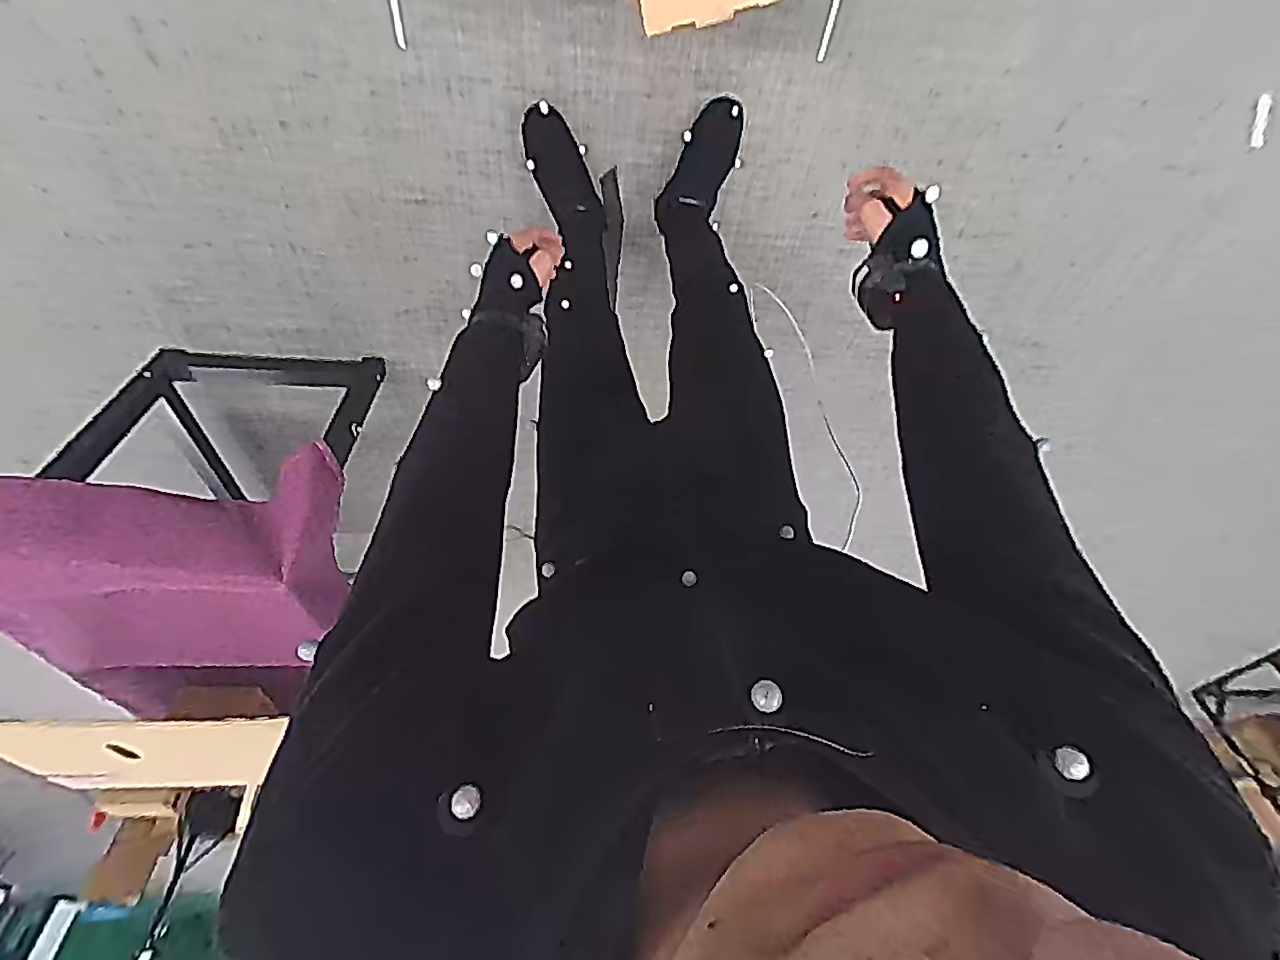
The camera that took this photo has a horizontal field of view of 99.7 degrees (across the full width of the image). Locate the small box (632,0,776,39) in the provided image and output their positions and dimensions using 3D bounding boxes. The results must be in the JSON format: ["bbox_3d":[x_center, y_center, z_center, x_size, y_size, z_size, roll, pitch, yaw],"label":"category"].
[{"bbox_3d":[0.060,-0.653,0.623,0.168,0.176,0.179,-11,138,6],"label":"small box"}]
